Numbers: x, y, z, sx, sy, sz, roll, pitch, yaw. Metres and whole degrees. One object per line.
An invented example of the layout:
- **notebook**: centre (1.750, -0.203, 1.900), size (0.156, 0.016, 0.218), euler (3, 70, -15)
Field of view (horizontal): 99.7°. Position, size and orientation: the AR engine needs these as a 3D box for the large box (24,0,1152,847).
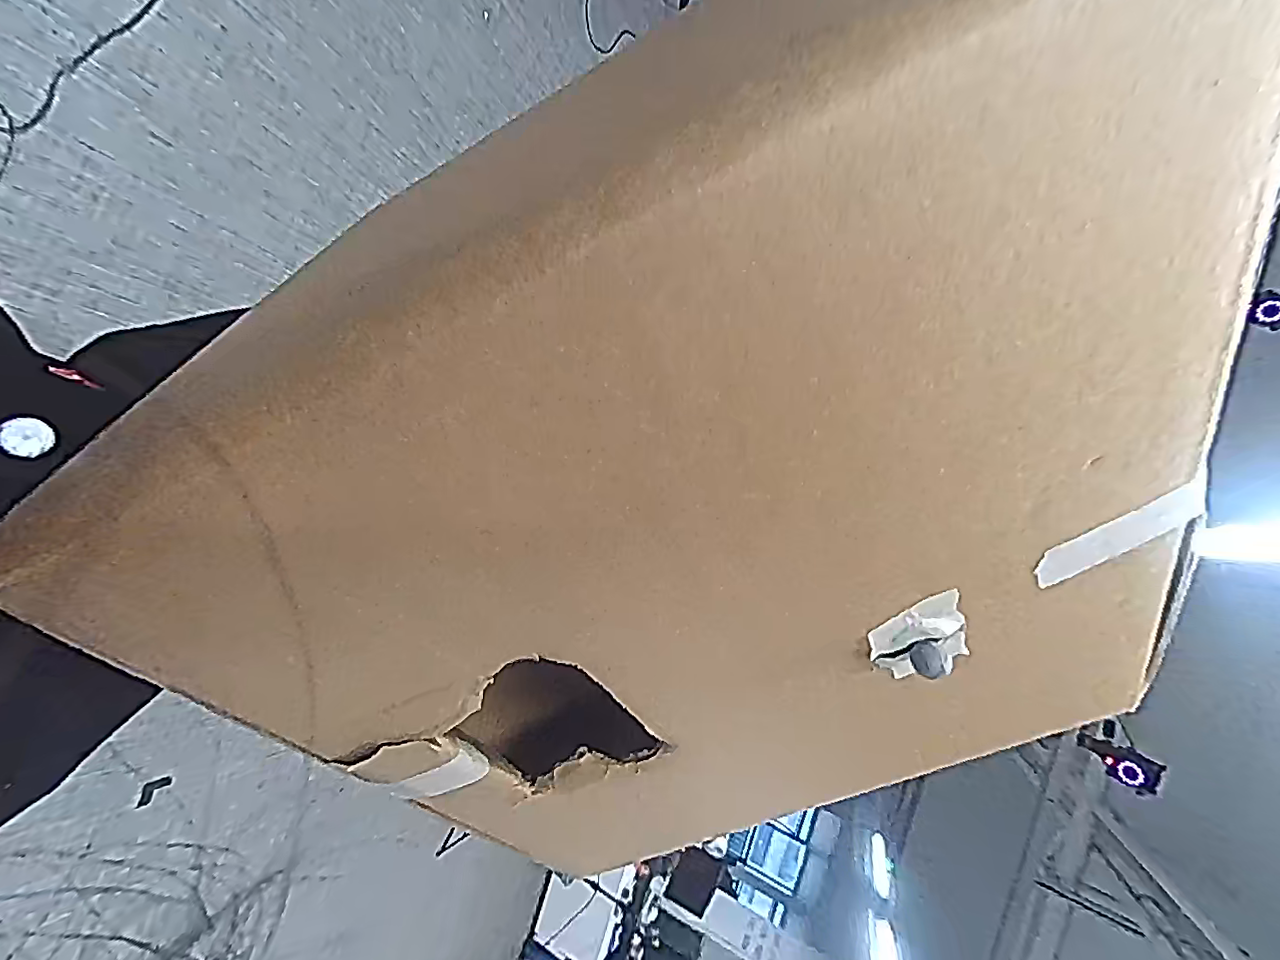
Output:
- **large box**: centre (0.007, -0.059, 0.360), size (0.408, 0.320, 0.320), euler (-99, 162, -51)
